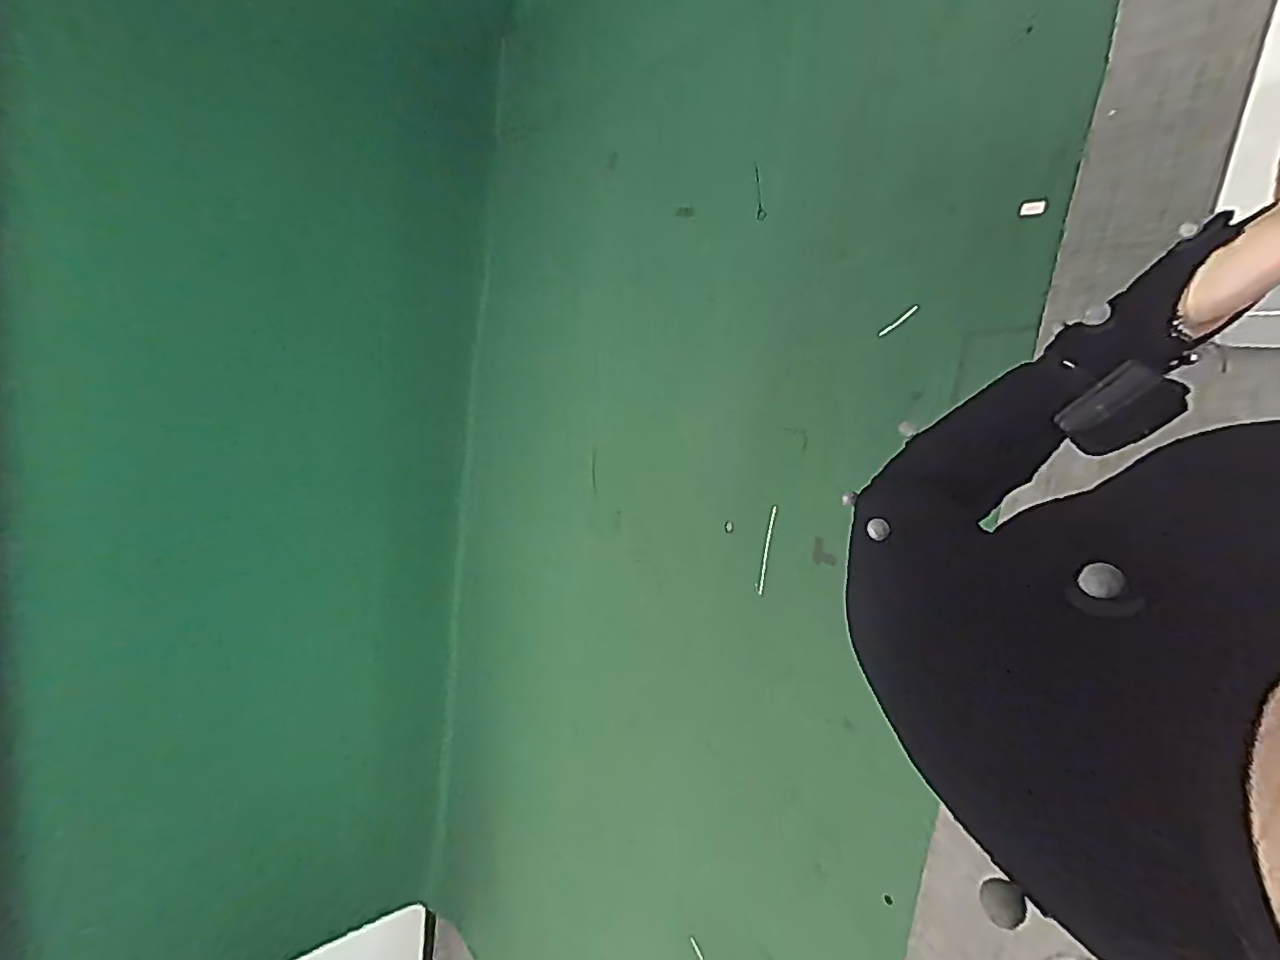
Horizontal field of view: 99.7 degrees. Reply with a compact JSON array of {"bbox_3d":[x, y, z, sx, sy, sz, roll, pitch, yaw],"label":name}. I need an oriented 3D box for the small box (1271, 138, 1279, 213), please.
[{"bbox_3d":[0.740,-0.357,0.496,0.179,0.176,0.168,26,108,44],"label":"small box"}]
